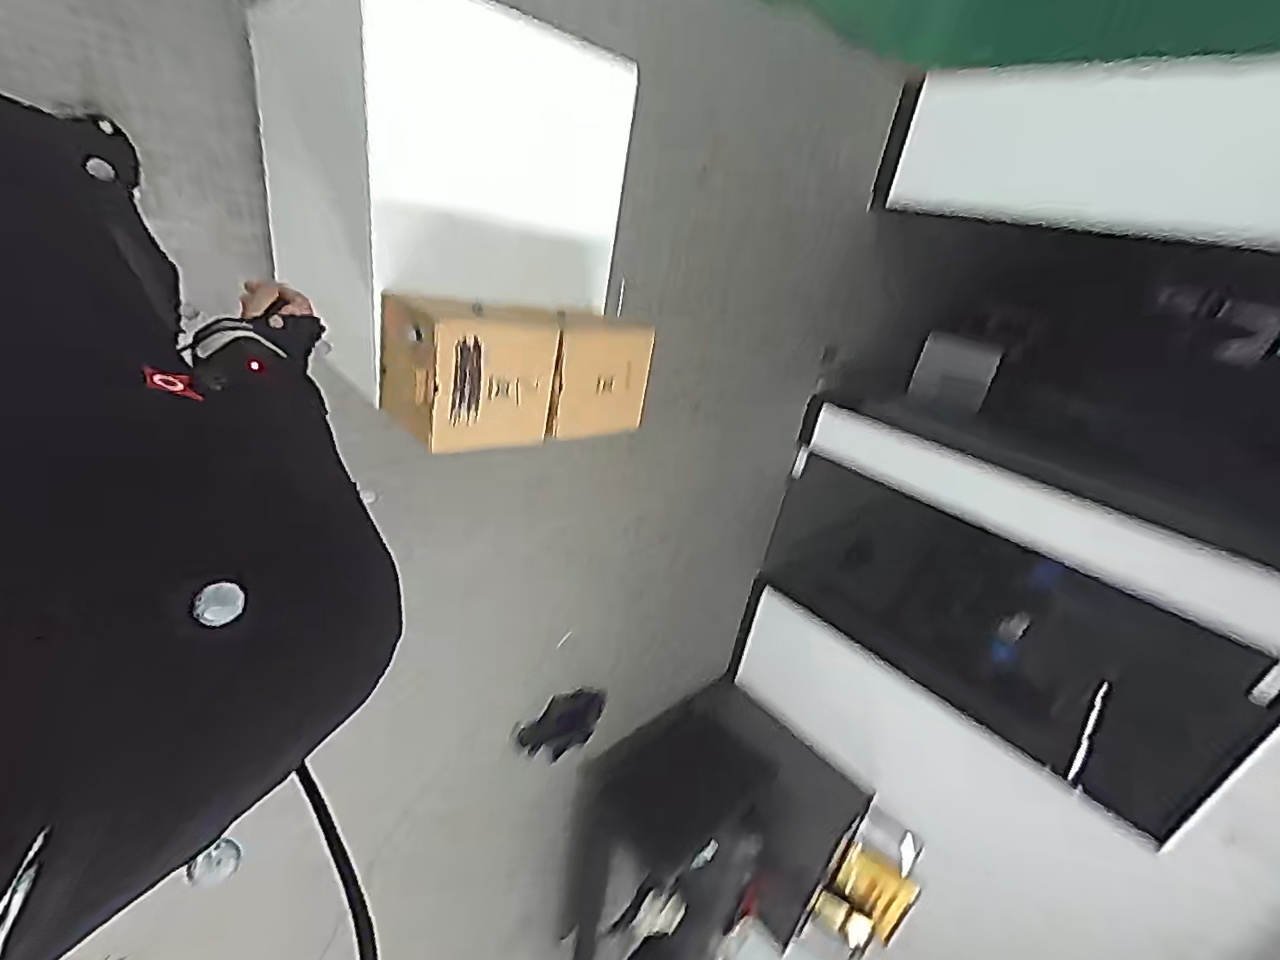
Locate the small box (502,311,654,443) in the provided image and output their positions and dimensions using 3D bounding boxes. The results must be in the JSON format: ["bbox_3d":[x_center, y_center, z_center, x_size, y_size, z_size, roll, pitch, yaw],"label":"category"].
[{"bbox_3d":[-0.107,-0.174,0.881,0.179,0.176,0.168,-14,125,-42],"label":"small box"}]
